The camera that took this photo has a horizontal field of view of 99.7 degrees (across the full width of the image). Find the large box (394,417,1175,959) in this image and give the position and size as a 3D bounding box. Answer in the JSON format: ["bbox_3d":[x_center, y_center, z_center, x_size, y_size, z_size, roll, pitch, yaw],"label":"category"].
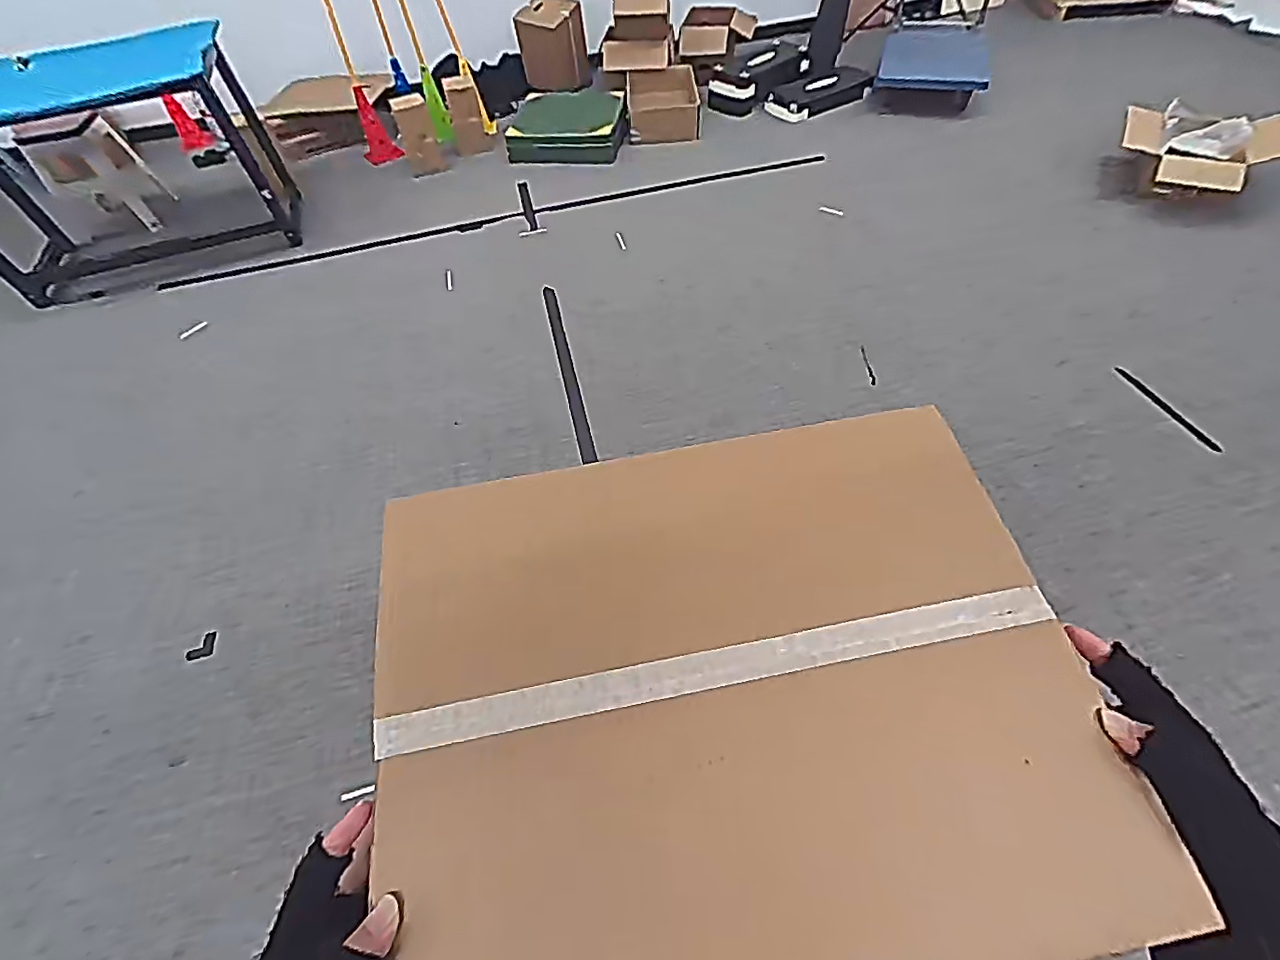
[{"bbox_3d":[0.055,0.191,0.462,0.408,0.320,0.320,-11,62,-3],"label":"large box"}]
